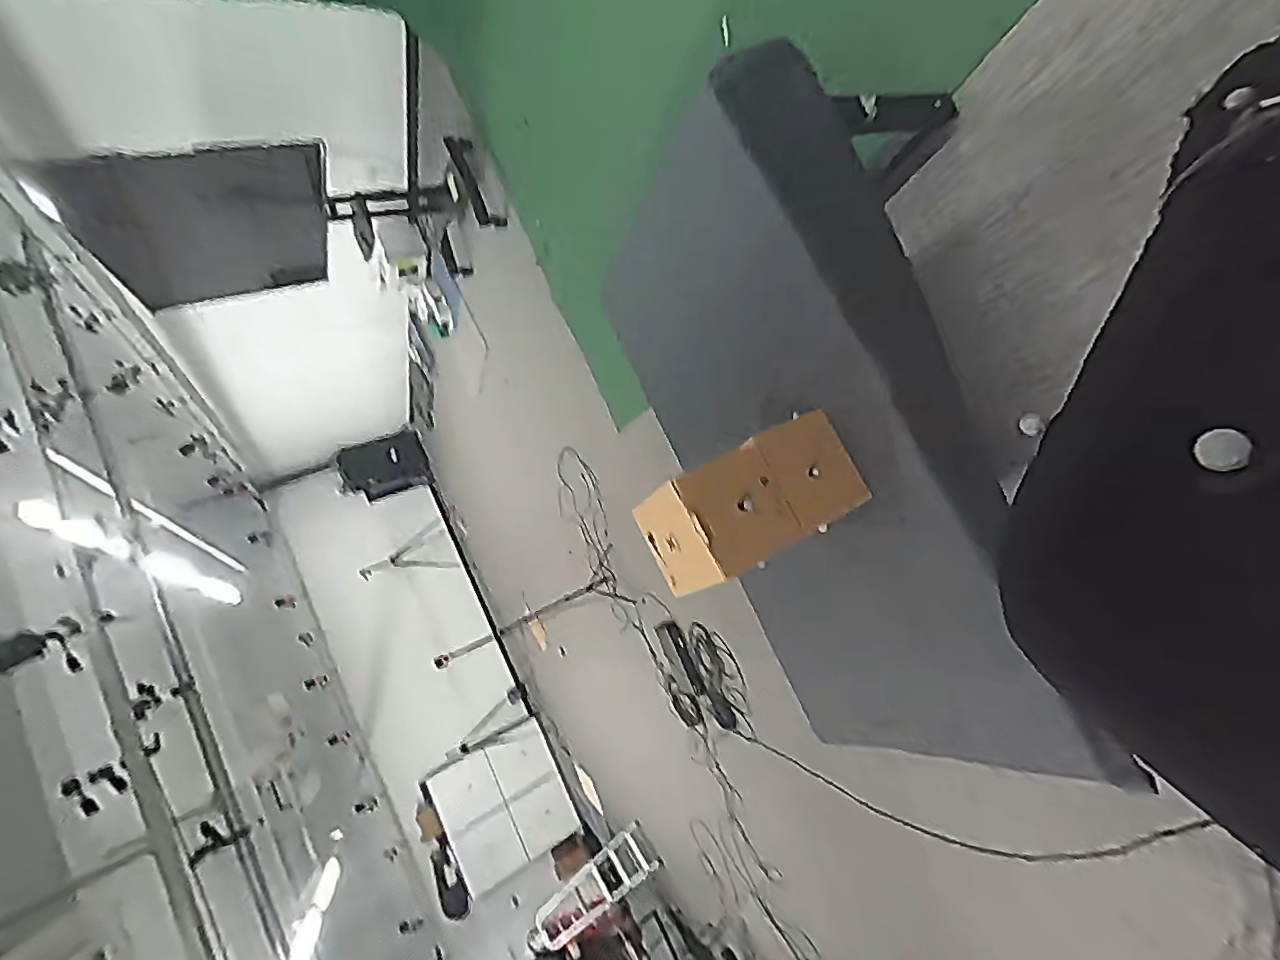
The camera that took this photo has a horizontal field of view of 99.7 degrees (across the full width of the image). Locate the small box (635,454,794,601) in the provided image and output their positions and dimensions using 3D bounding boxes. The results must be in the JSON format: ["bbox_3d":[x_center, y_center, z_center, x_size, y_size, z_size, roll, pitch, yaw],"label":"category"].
[{"bbox_3d":[0.125,0.077,0.881,0.168,0.176,0.179,63,152,9],"label":"small box"}]

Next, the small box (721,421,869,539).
[{"bbox_3d":[0.257,0.012,0.951,0.179,0.176,0.168,63,152,13],"label":"small box"}]
